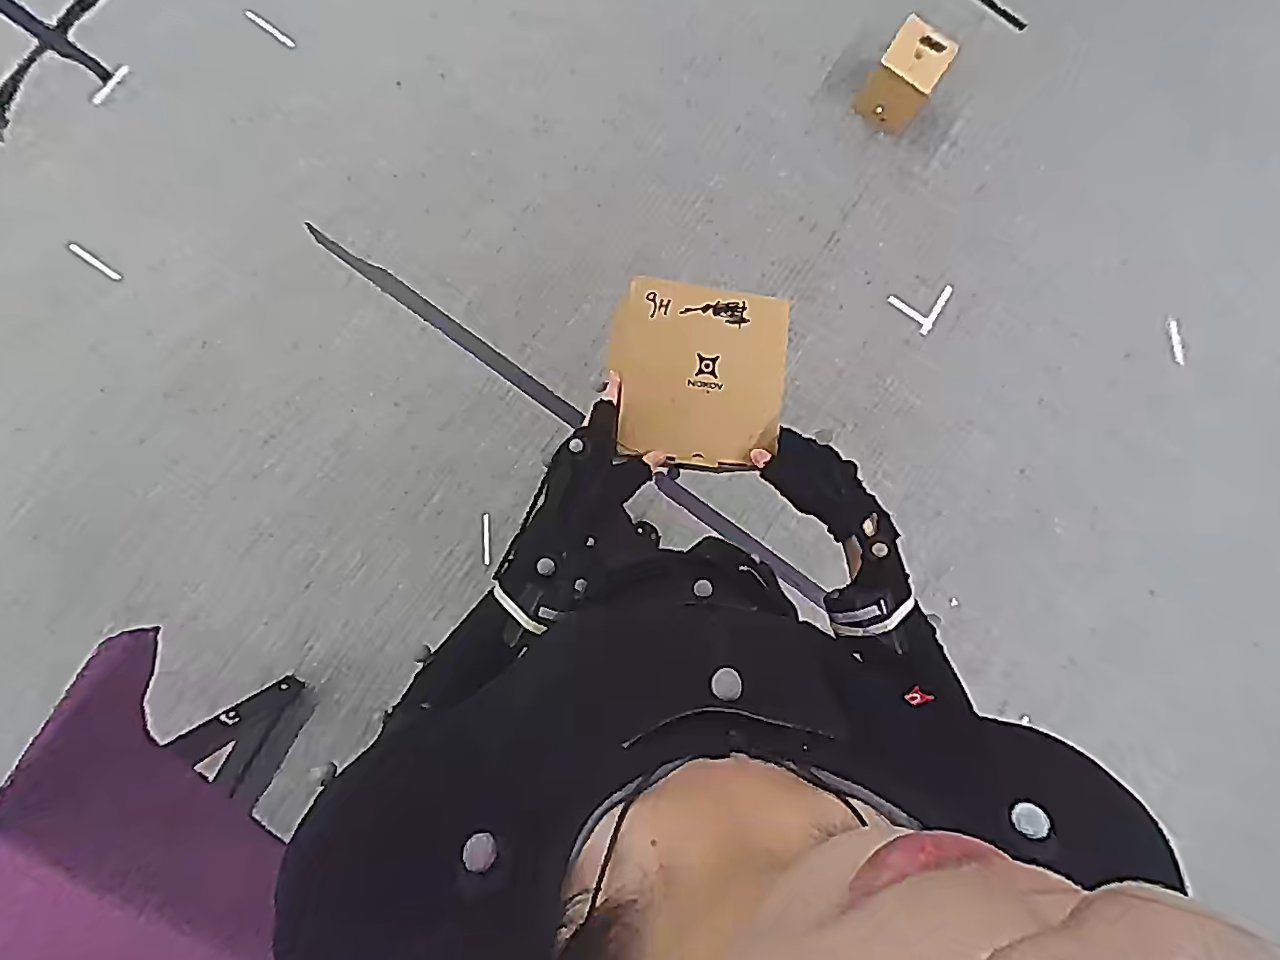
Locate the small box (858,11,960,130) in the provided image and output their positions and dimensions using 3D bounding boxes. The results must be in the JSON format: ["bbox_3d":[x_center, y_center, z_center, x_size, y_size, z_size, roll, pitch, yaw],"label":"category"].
[{"bbox_3d":[0.767,-1.176,1.566,0.168,0.176,0.179,33,86,-2],"label":"small box"}]

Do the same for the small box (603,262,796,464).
[{"bbox_3d":[0.053,-0.112,0.599,0.168,0.176,0.179,6,89,-10],"label":"small box"}]
